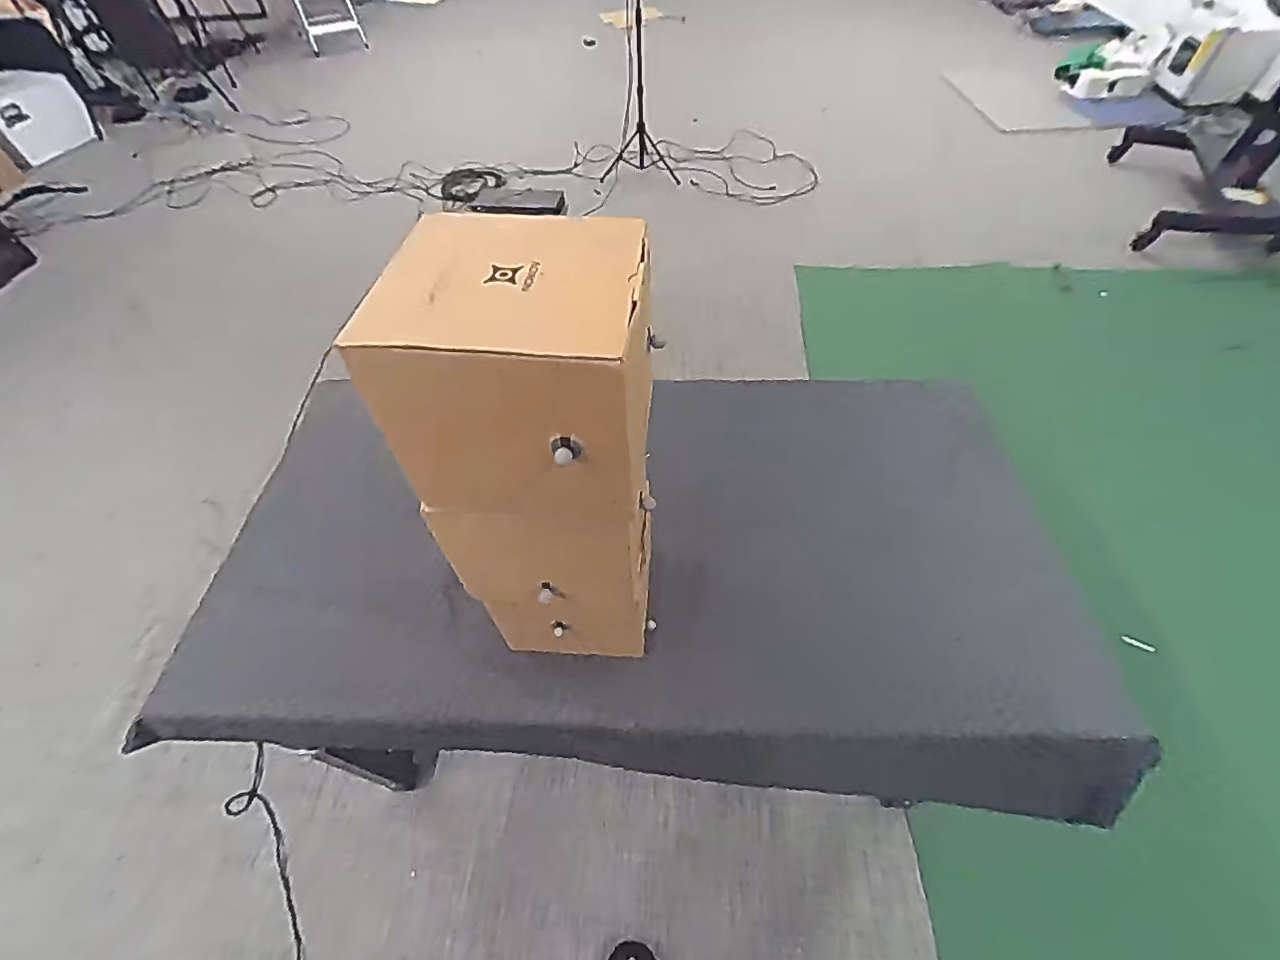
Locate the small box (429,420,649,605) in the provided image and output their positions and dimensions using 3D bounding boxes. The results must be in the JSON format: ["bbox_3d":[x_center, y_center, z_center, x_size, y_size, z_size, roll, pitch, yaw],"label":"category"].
[{"bbox_3d":[-0.084,0.017,0.557,0.179,0.176,0.168,3,52,3],"label":"small box"}]

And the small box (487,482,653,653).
[{"bbox_3d":[-0.075,0.111,0.690,0.179,0.176,0.168,1,52,4],"label":"small box"}]

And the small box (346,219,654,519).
[{"bbox_3d":[-0.081,-0.082,0.427,0.179,0.176,0.168,2,51,5],"label":"small box"}]
